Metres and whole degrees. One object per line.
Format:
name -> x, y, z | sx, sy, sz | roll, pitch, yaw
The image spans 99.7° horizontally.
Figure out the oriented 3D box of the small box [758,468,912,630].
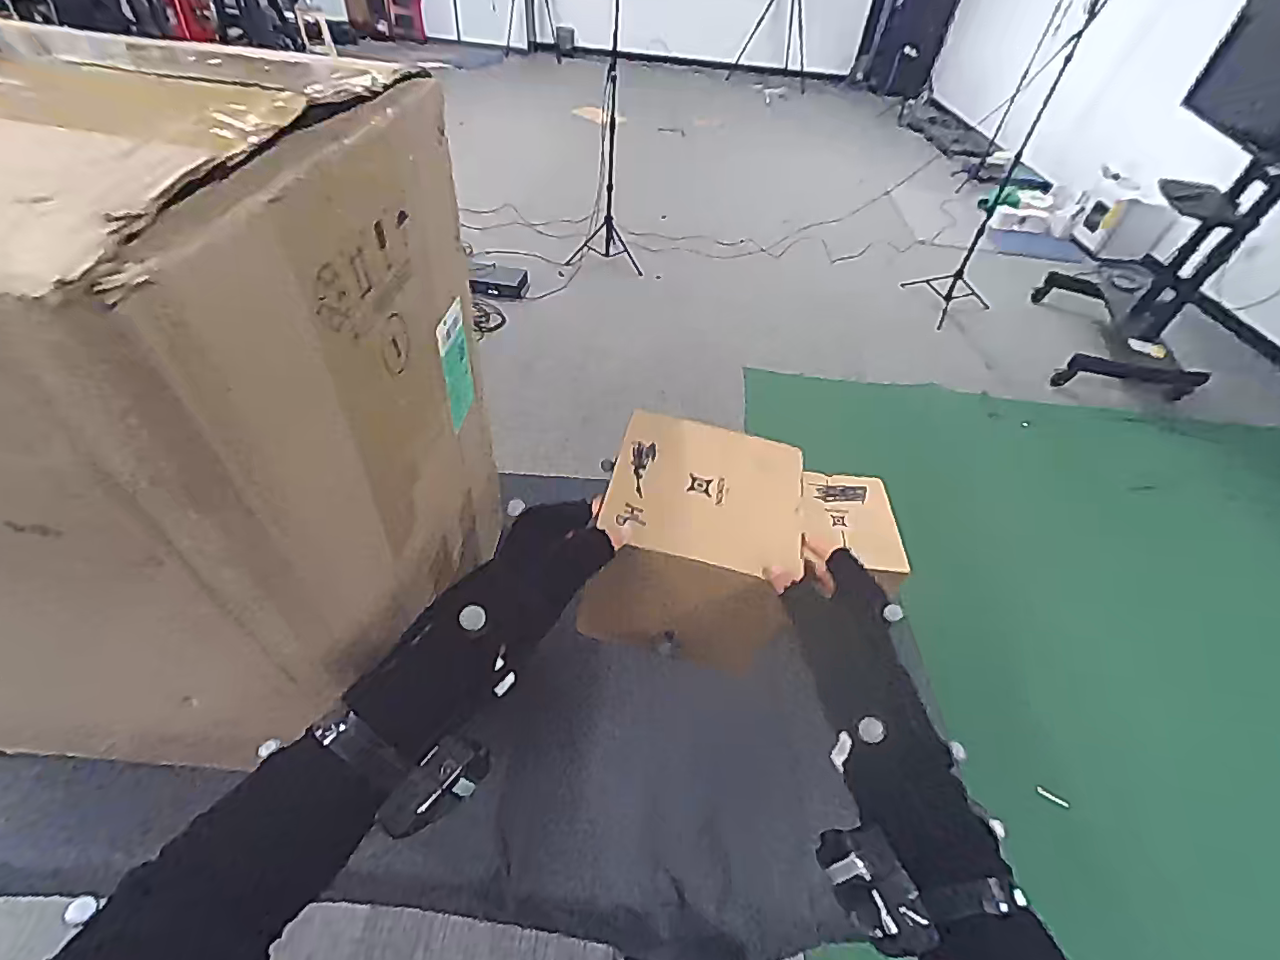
small box -> 0.285, 0.108, 0.840 | 0.168, 0.176, 0.179 | 6, 47, 0
